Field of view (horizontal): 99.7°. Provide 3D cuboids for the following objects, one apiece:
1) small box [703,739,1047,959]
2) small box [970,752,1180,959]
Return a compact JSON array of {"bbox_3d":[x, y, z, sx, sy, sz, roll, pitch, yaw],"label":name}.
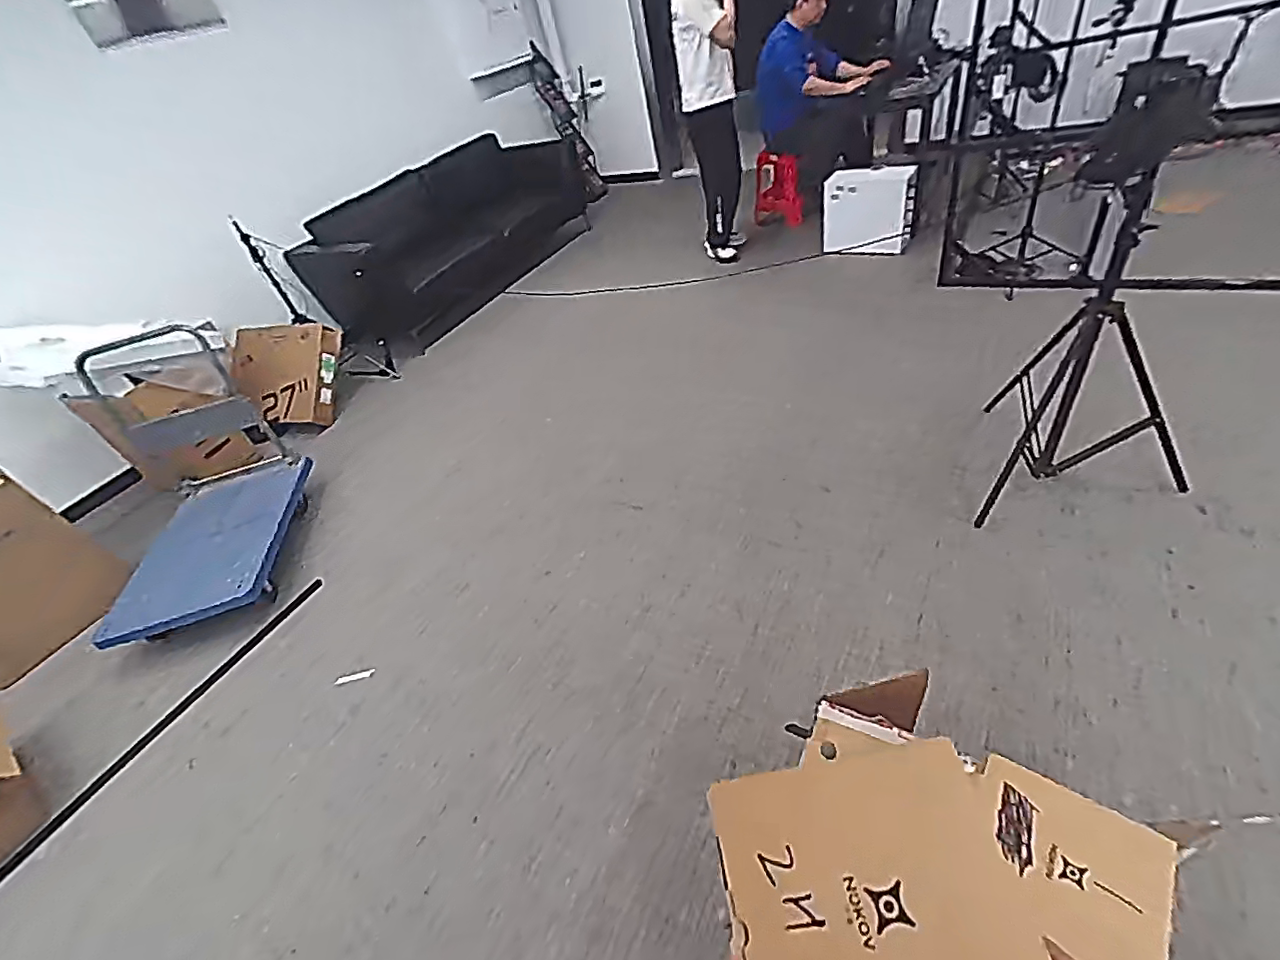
[{"bbox_3d":[0.152,0.302,0.394,0.179,0.176,0.168,-14,55,3],"label":"small box"},{"bbox_3d":[0.455,0.457,0.615,0.179,0.176,0.168,20,54,32],"label":"small box"}]
